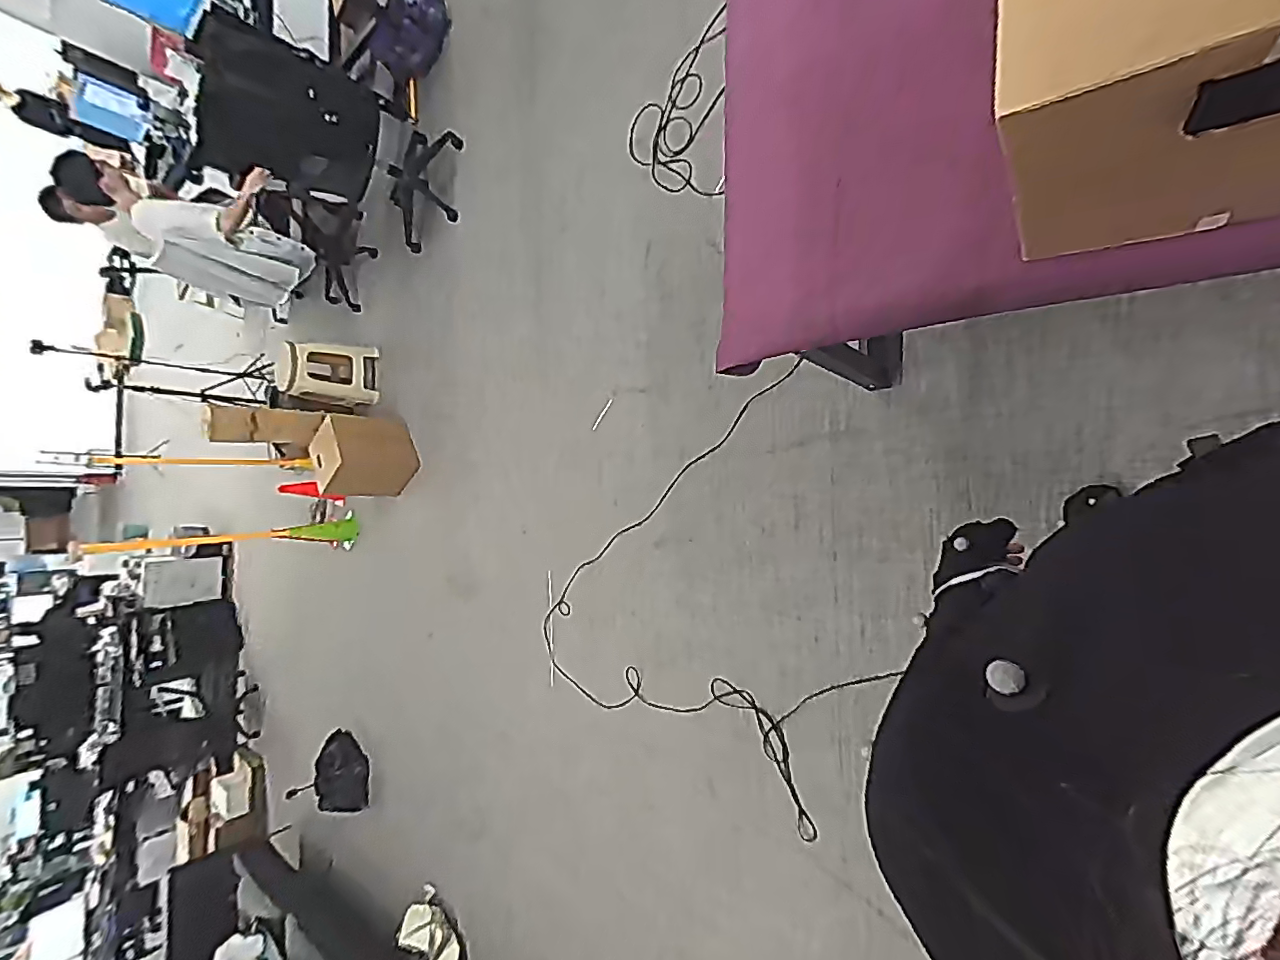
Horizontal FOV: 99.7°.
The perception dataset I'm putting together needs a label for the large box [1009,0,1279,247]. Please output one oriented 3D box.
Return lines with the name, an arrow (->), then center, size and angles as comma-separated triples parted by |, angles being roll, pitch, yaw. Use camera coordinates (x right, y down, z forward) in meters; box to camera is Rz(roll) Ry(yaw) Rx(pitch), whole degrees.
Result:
large box -> 0.504, -0.473, 0.443 | 0.320, 0.320, 0.408 | 2, 90, 39
